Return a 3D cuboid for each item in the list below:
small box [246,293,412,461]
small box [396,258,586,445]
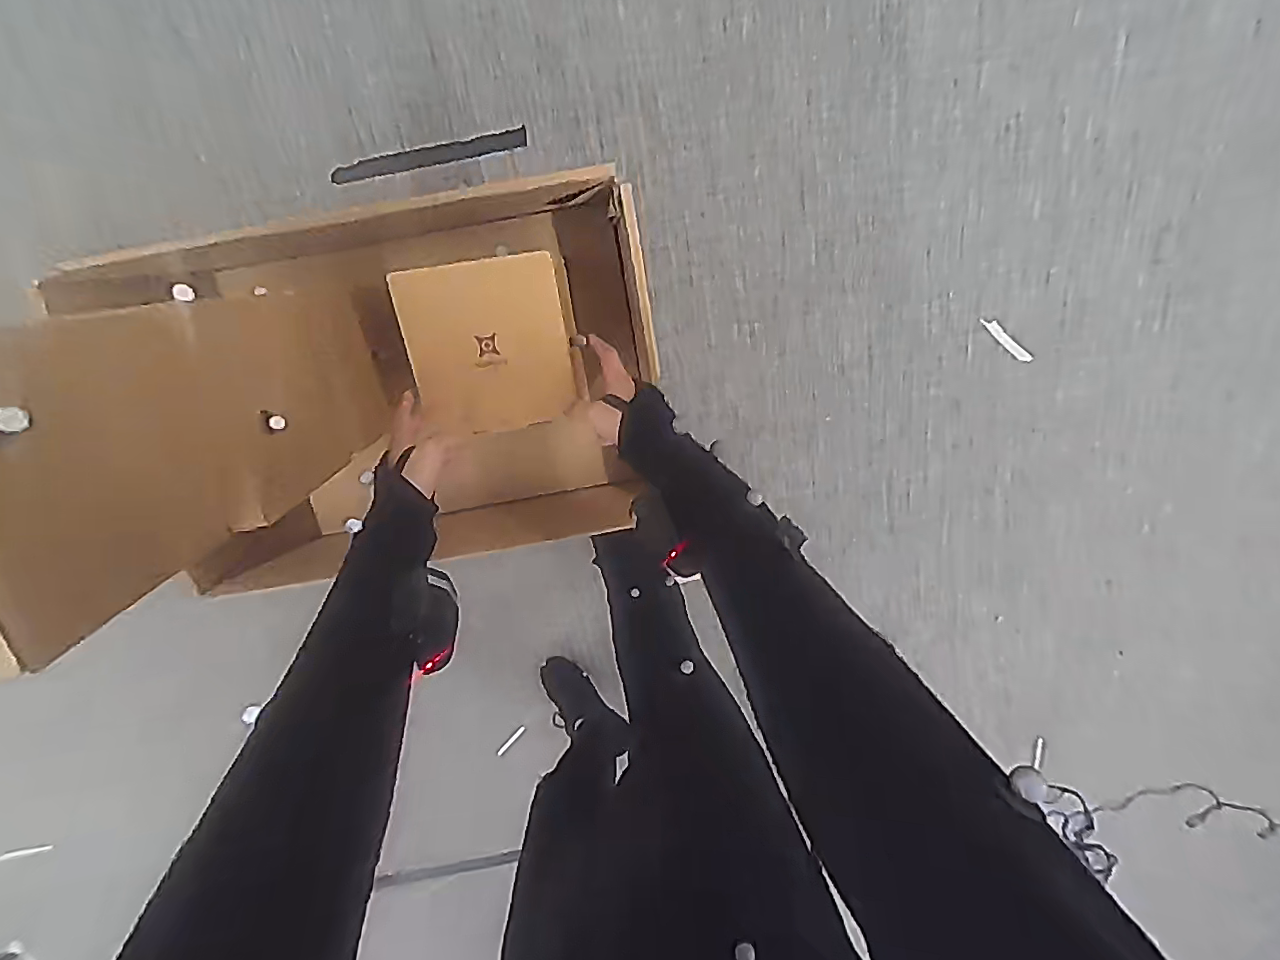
[{"bbox_3d":[-0.398,-0.114,0.636,0.168,0.176,0.179,-12,110,1],"label":"small box"},{"bbox_3d":[-0.158,-0.157,0.641,0.168,0.176,0.179,-9,112,-1],"label":"small box"}]
